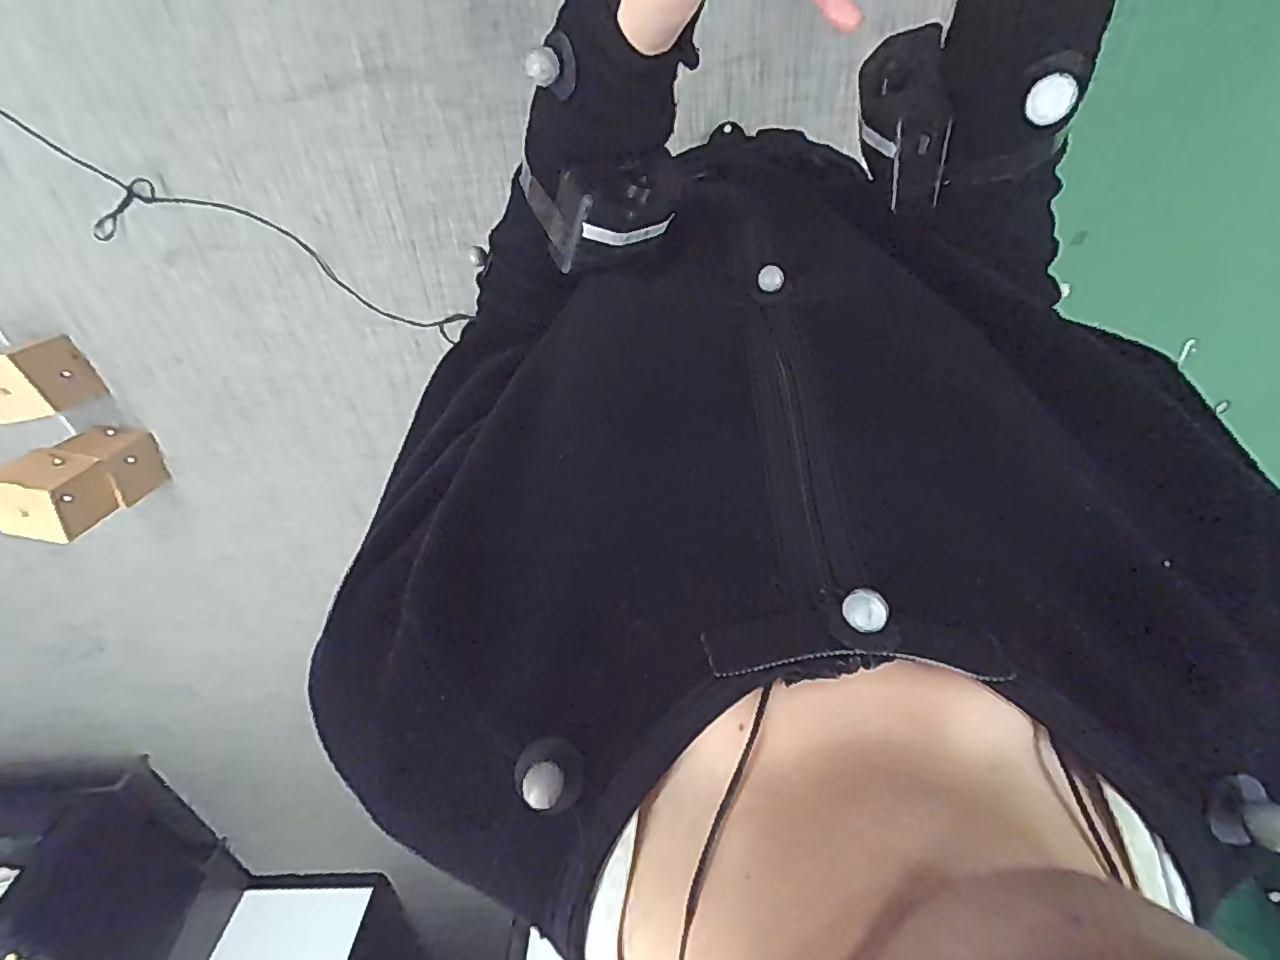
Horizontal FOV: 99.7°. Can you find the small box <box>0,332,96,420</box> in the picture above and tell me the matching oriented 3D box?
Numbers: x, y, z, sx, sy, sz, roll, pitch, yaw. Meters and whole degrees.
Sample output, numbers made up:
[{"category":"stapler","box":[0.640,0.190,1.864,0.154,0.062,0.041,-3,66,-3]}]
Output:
[{"category":"small box","box":[-1.618,-0.278,1.432,0.179,0.176,0.168,-8,122,7]}]

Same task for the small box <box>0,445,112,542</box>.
[{"category":"small box","box":[-1.575,0.033,1.441,0.168,0.176,0.179,12,121,-6]}]
